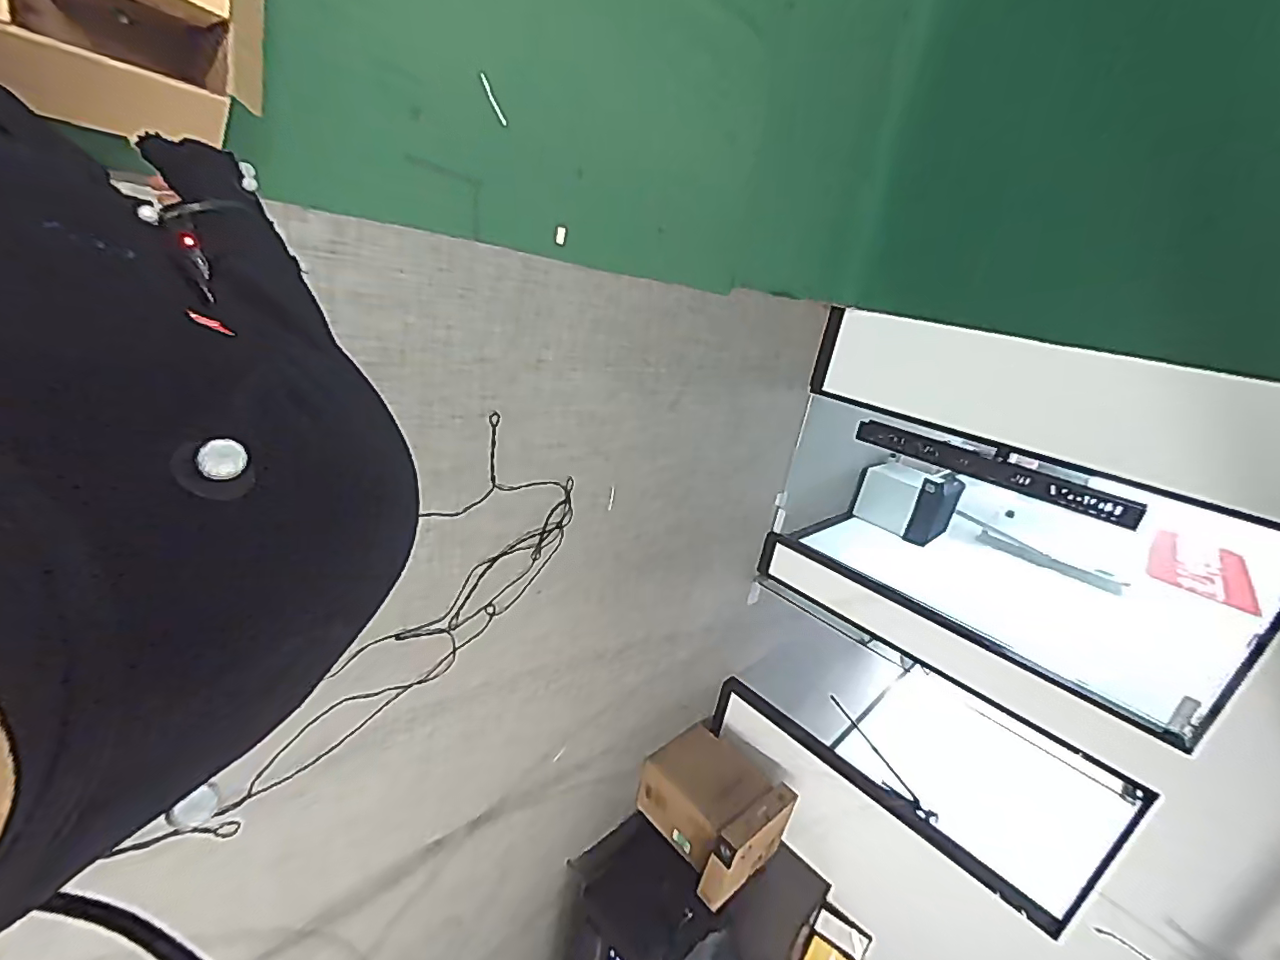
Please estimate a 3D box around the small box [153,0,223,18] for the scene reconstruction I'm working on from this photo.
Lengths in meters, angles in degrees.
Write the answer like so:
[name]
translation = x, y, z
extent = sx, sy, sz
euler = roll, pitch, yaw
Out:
[small box]
translation = -0.678, -0.771, 0.728
extent = 0.168, 0.176, 0.179
euler = -5, 116, -49
